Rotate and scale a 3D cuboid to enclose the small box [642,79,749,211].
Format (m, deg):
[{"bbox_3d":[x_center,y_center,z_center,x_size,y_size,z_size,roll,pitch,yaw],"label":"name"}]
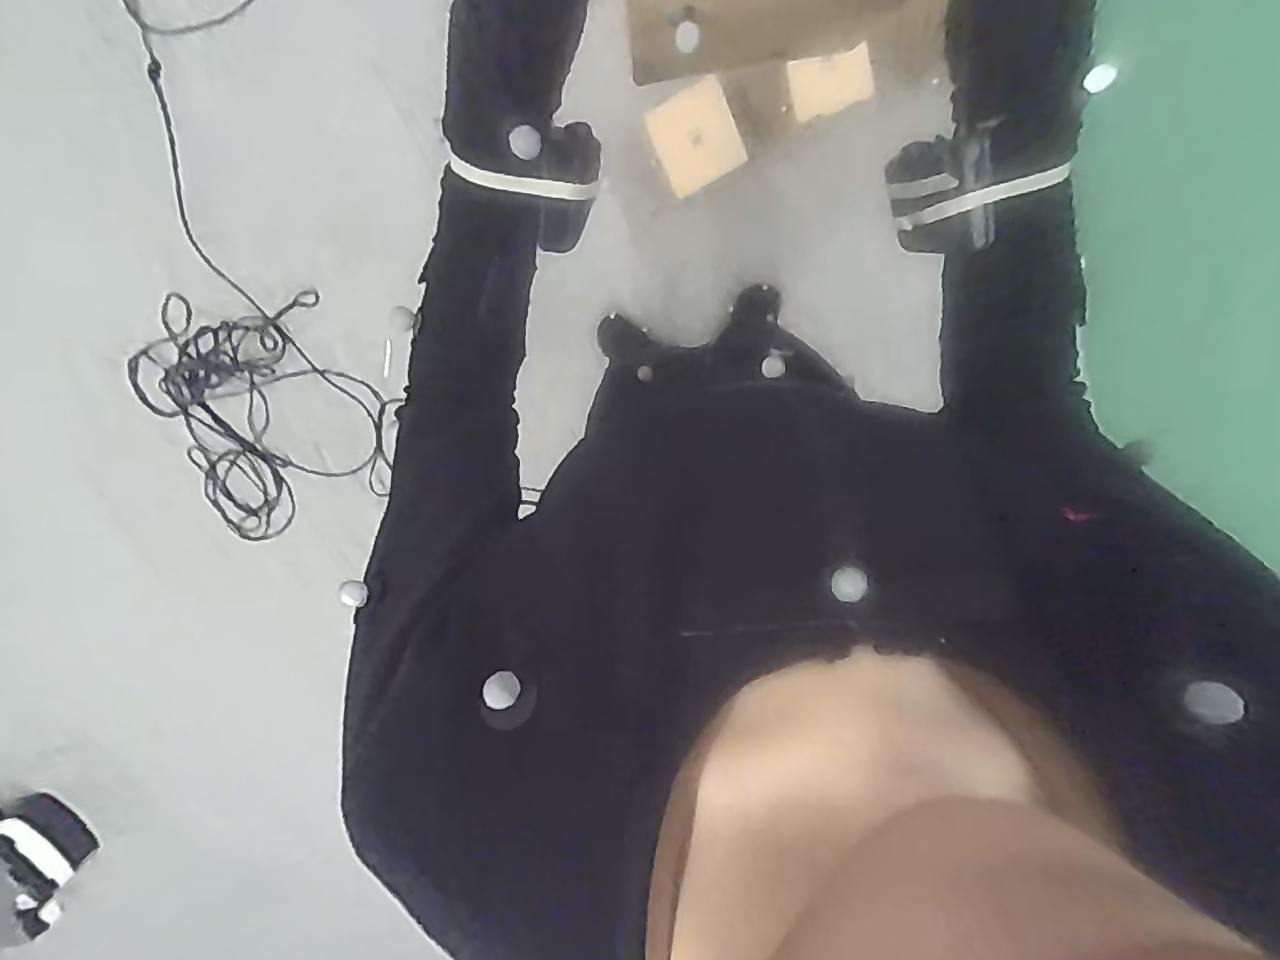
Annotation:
[{"bbox_3d":[0.113,-0.716,1.181,0.168,0.176,0.179,-27,110,9],"label":"small box"}]
